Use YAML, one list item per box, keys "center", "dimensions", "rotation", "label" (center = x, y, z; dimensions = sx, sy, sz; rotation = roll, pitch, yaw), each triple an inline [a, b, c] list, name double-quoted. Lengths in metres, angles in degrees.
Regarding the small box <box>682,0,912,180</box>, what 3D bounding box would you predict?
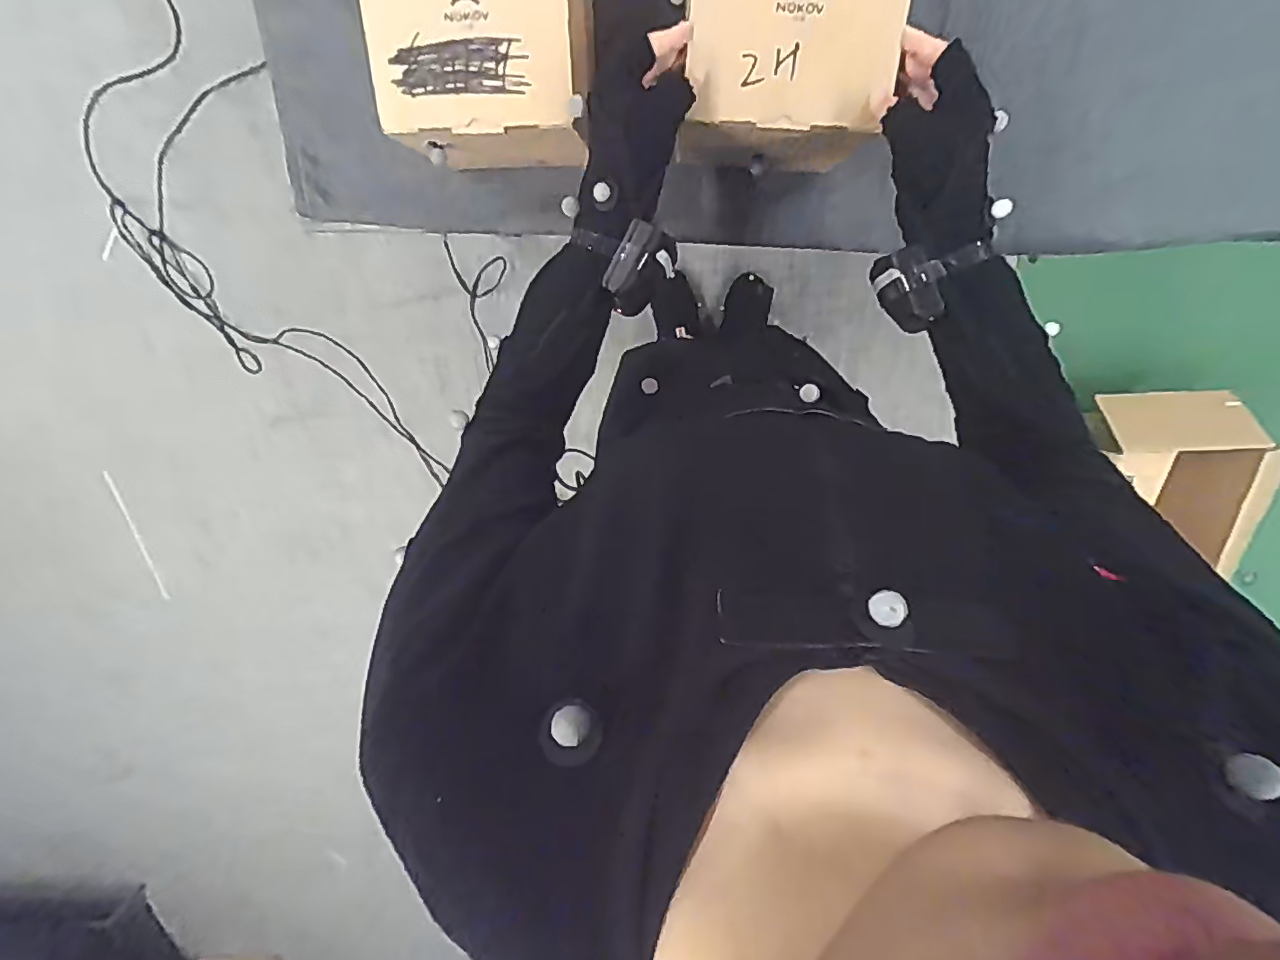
- center: [0.127, -0.388, 0.487]
  dimensions: [0.168, 0.176, 0.179]
  rotation: [4, 111, 2]
  label: "small box"
